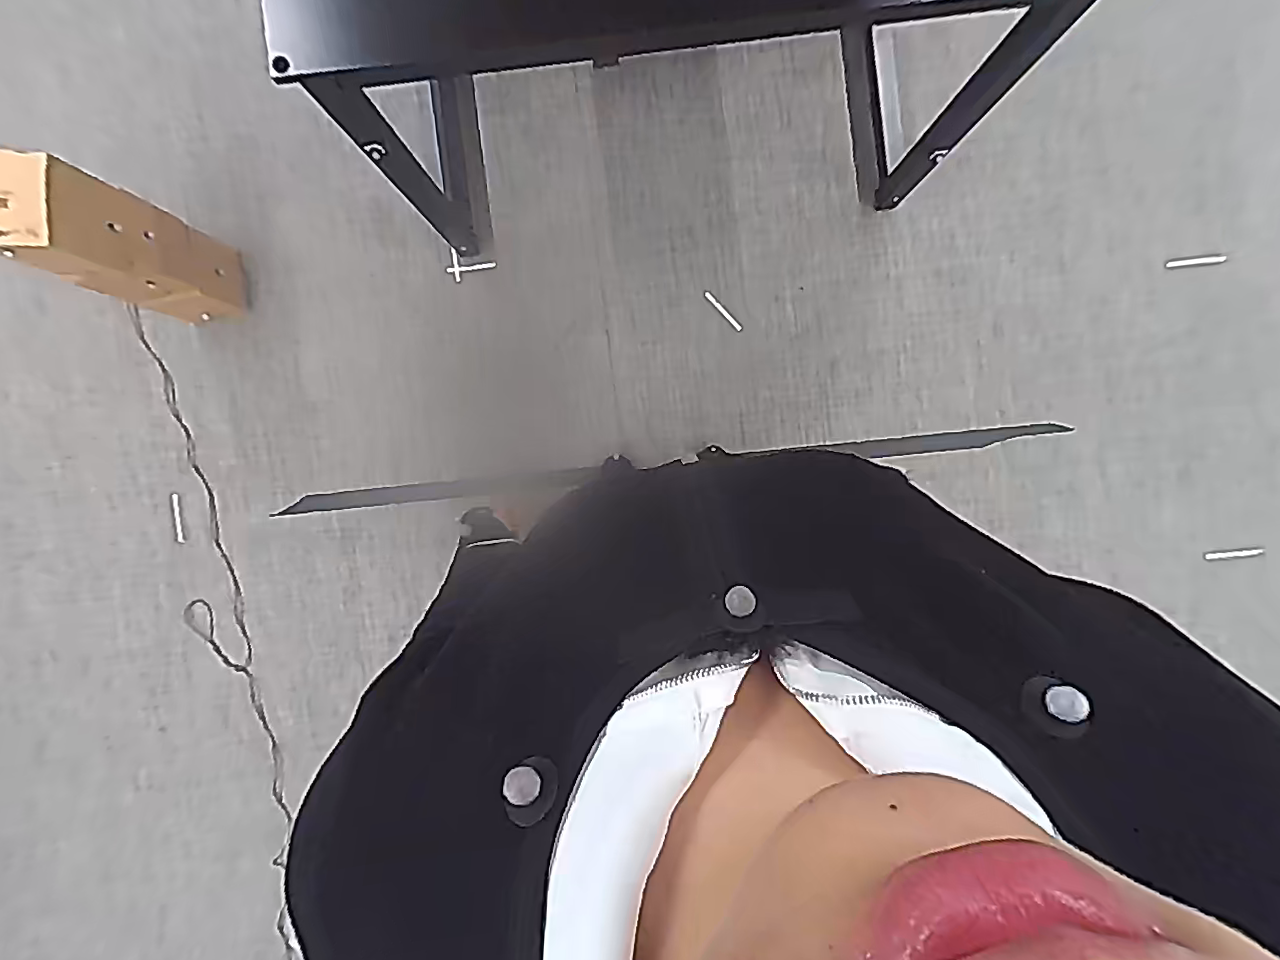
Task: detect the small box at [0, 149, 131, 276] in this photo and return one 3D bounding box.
[{"bbox_3d":[-1.176,-0.529,1.082,0.168,0.176,0.179,1,91,0],"label":"small box"}]

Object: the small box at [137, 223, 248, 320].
[{"bbox_3d":[-1.171,-0.536,1.409,0.168,0.176,0.179,-10,93,1],"label":"small box"}]

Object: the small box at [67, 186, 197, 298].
[{"bbox_3d":[-1.176,-0.535,1.246,0.168,0.176,0.179,-13,91,0],"label":"small box"}]
